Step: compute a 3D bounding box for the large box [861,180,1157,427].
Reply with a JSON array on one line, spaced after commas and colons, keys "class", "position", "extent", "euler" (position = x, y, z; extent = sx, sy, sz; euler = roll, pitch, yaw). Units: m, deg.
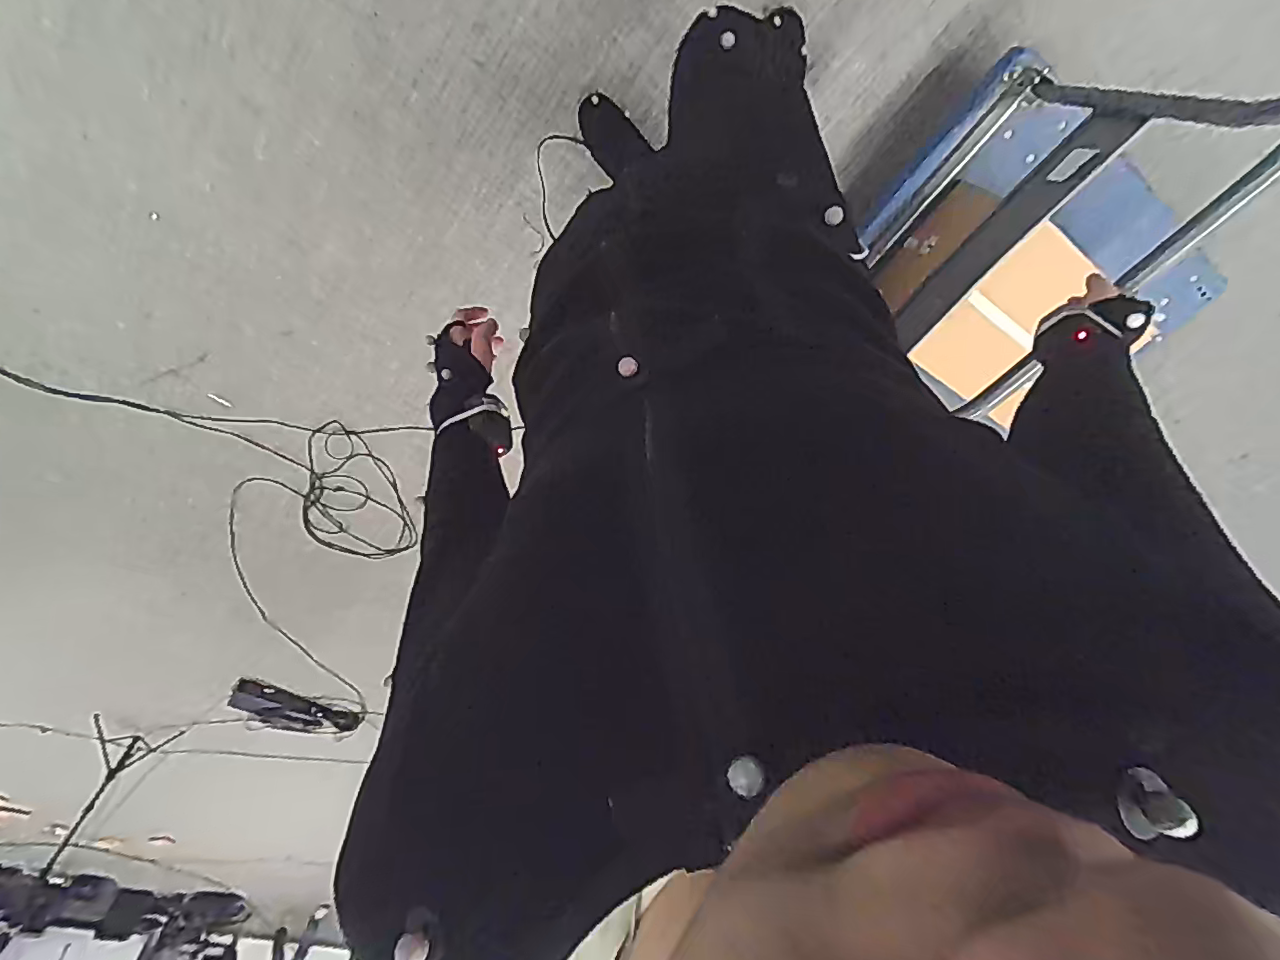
[{"class": "large box", "position": [0.791, -0.392, 1.214], "extent": [0.408, 0.320, 0.320], "euler": [25, 126, -21]}]
